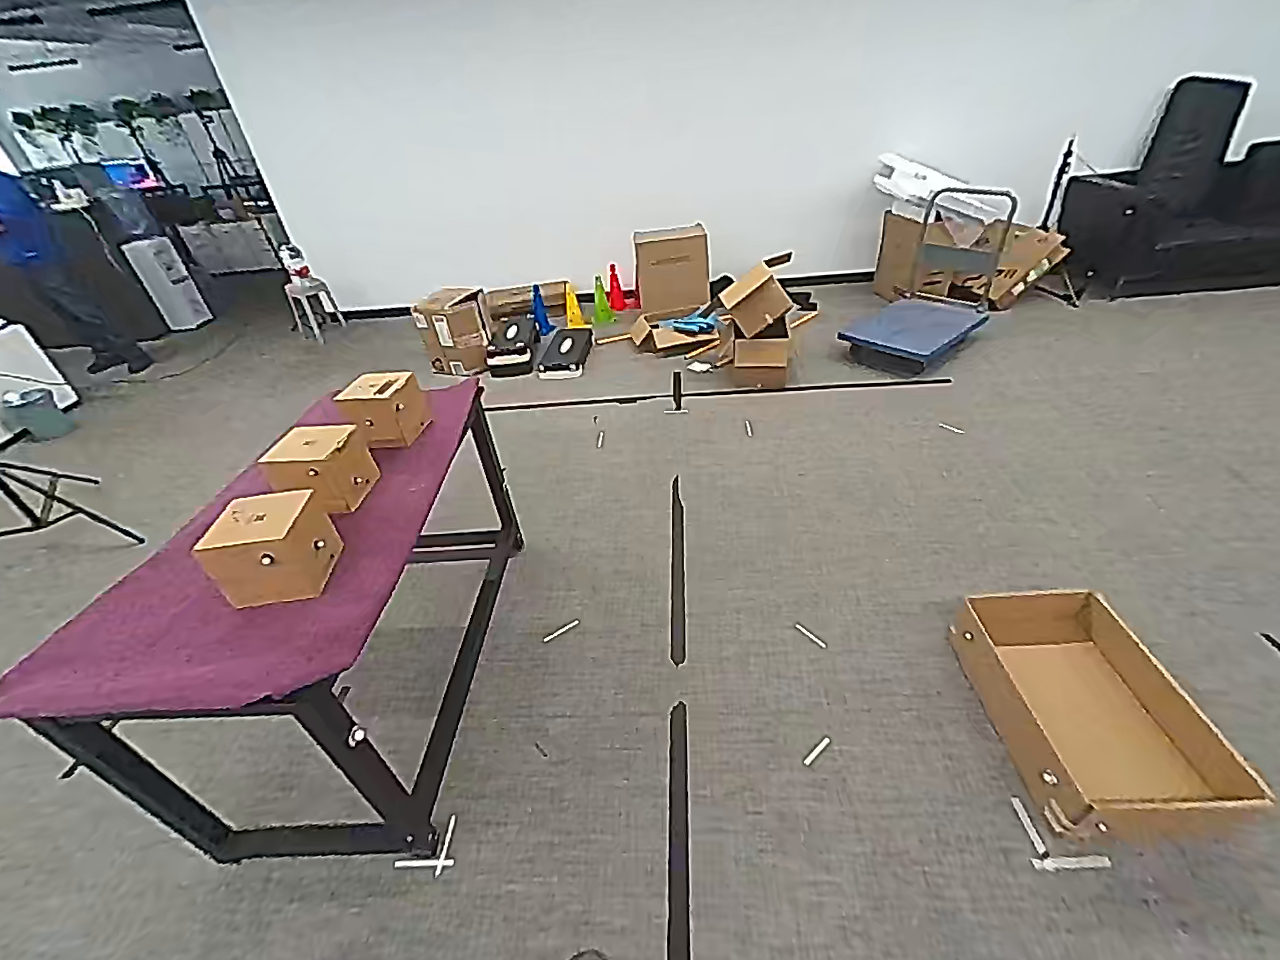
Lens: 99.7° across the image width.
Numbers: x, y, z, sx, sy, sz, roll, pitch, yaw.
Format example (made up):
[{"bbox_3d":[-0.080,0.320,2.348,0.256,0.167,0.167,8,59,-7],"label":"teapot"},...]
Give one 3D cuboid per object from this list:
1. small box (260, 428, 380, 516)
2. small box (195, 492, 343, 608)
[{"bbox_3d":[-0.811,-0.019,1.390,0.179,0.176,0.168,-2,36,5],"label":"small box"},{"bbox_3d":[-0.769,0.149,1.147,0.179,0.176,0.168,-8,35,-2],"label":"small box"}]
